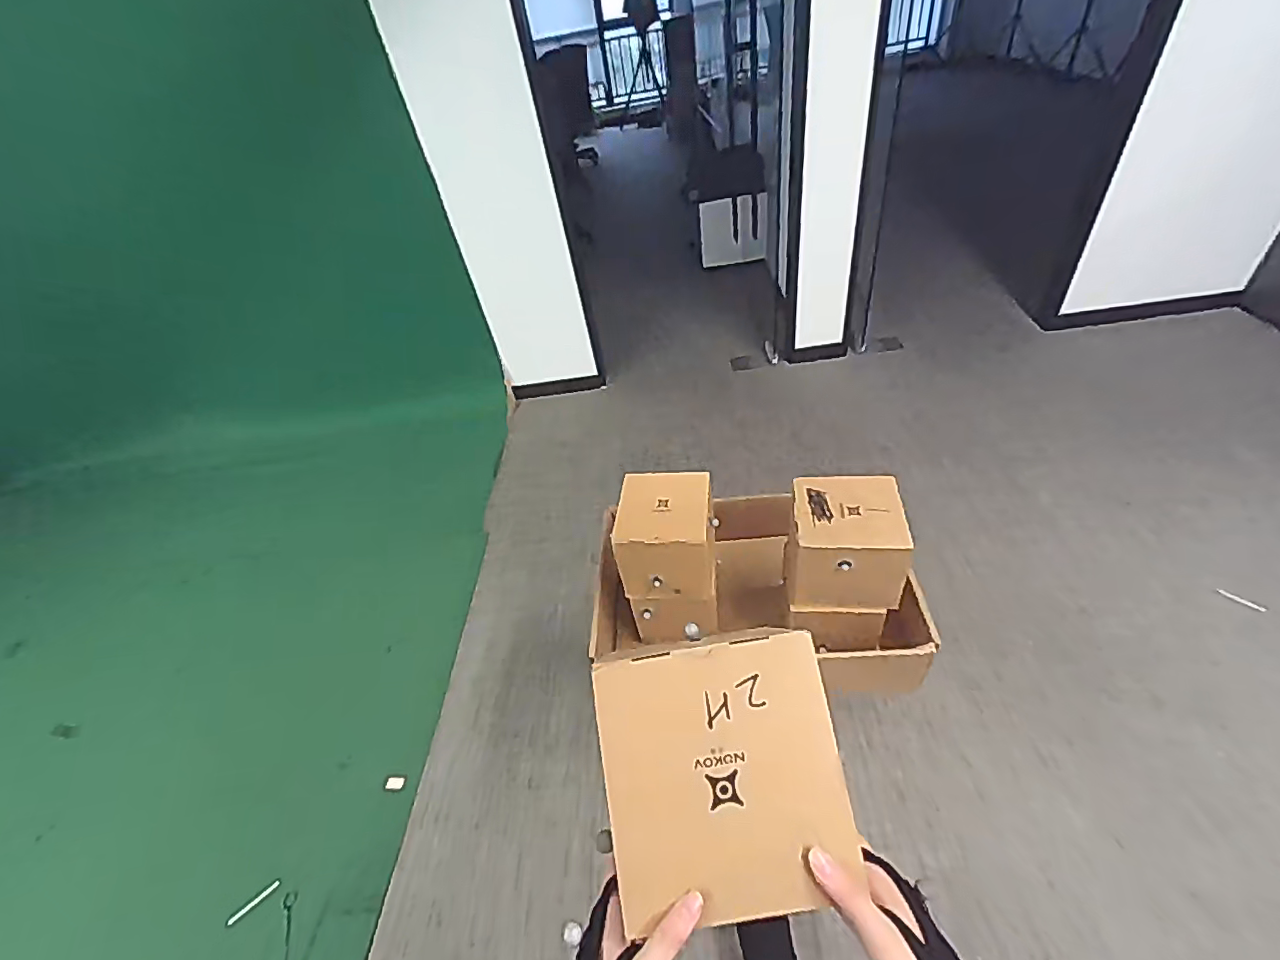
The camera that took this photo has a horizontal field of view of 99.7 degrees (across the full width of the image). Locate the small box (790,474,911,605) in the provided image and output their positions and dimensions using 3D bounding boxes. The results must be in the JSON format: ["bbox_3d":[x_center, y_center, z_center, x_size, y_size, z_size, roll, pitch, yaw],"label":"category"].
[{"bbox_3d":[0.360,0.107,0.959,0.179,0.176,0.168,-1,44,12],"label":"small box"}]

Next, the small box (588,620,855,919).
[{"bbox_3d":[0.057,0.219,0.458,0.168,0.176,0.179,-9,75,0],"label":"small box"}]

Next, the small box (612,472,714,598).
[{"bbox_3d":[0.052,0.103,1.032,0.168,0.176,0.179,-1,44,11],"label":"small box"}]
